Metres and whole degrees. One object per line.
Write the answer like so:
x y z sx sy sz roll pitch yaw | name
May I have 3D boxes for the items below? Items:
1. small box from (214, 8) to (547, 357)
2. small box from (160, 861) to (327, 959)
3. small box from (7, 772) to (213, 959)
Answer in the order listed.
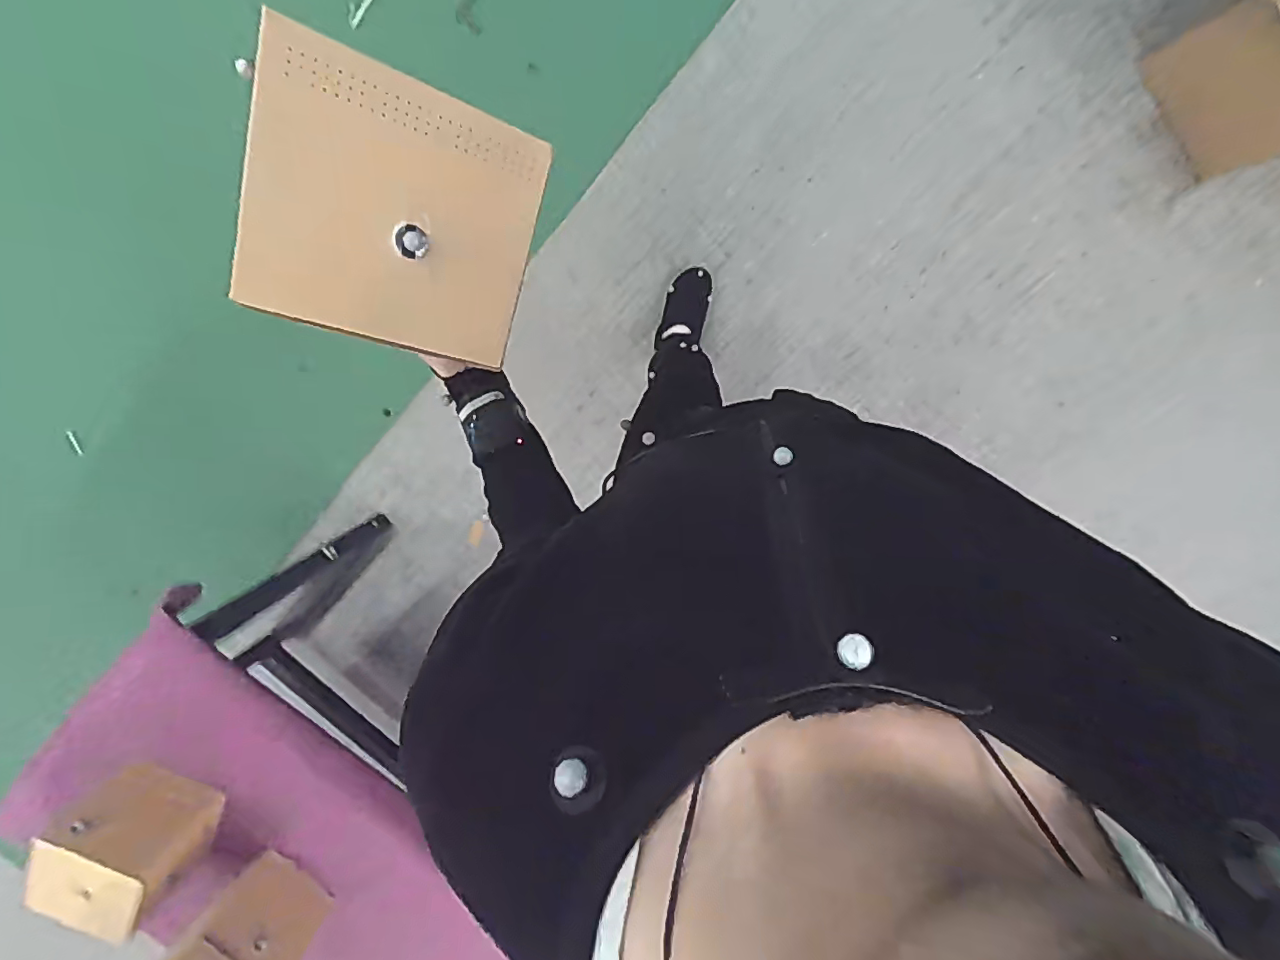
-0.192 -0.211 0.415 0.179 0.168 0.176 10 107 -30 | small box
-0.696 0.821 0.938 0.168 0.176 0.179 -40 98 12 | small box
-0.870 0.632 0.903 0.179 0.176 0.168 25 105 -3 | small box
